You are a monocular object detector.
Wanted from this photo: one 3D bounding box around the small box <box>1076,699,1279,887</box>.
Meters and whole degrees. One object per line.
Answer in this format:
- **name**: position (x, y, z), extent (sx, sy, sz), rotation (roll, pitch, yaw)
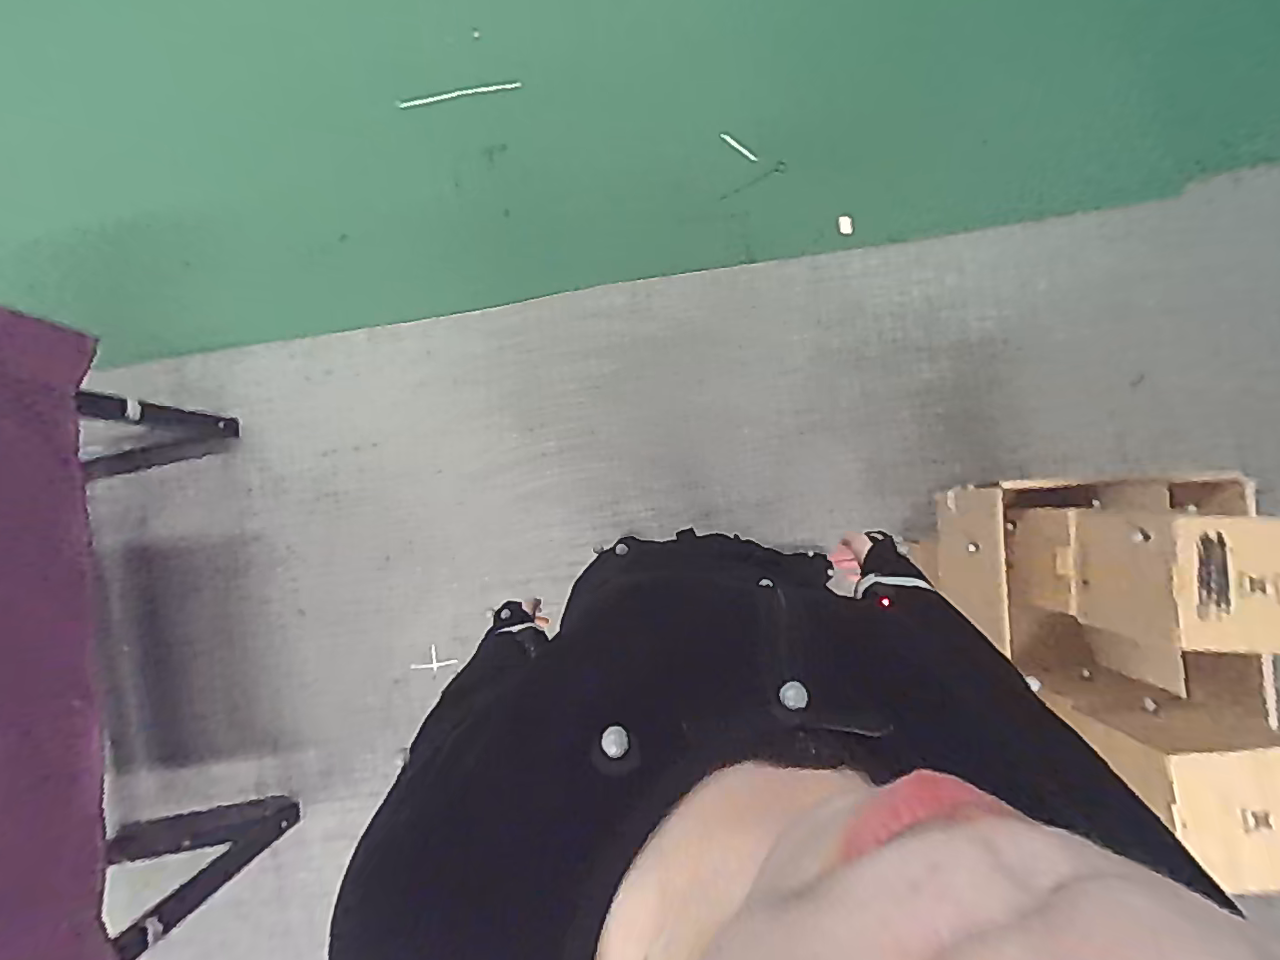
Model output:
- **small box**: position (0.737, 0.411, 0.734), extent (0.179, 0.176, 0.168), rotation (-5, 86, 4)
